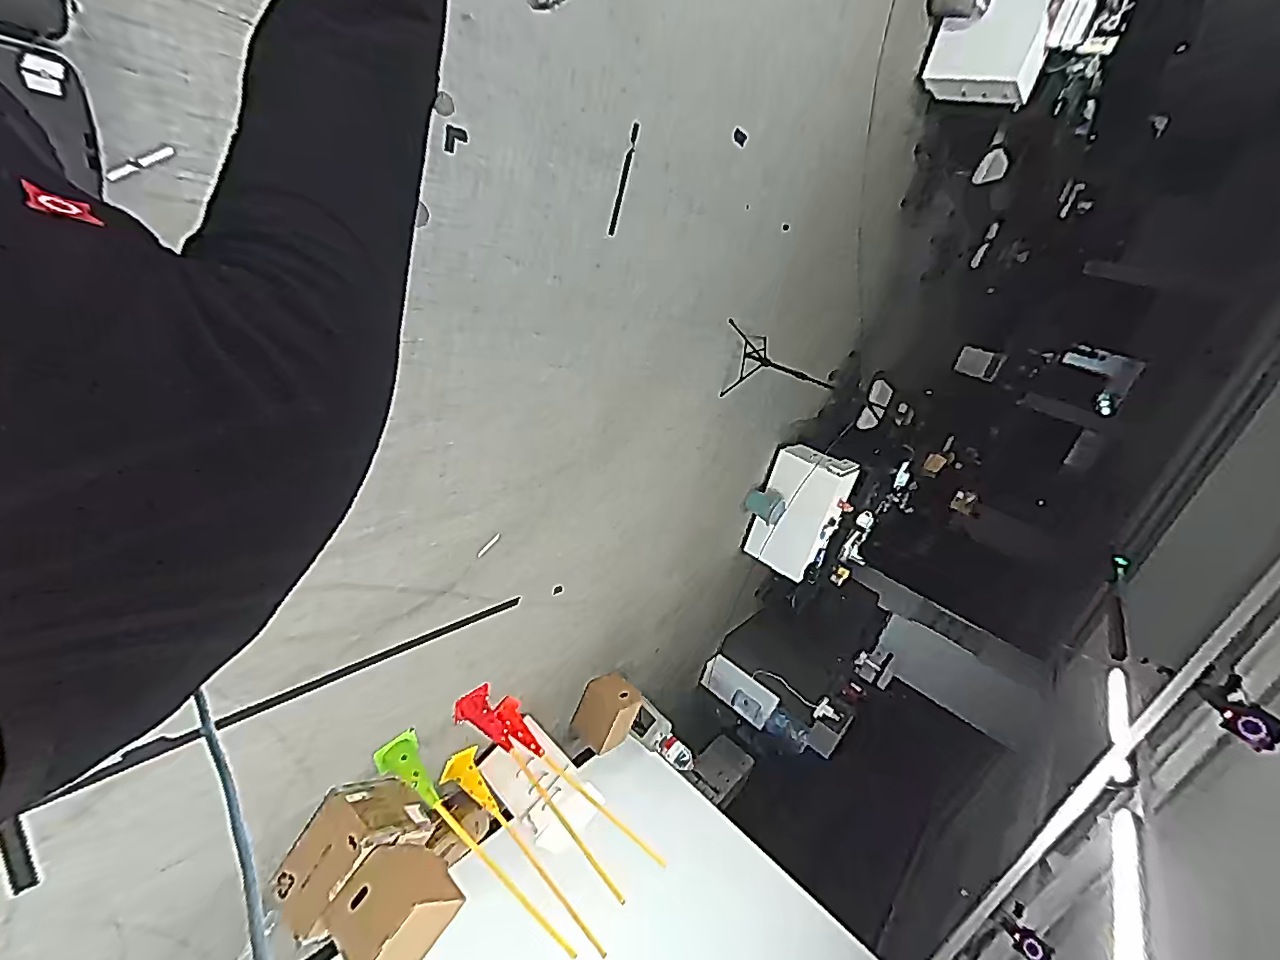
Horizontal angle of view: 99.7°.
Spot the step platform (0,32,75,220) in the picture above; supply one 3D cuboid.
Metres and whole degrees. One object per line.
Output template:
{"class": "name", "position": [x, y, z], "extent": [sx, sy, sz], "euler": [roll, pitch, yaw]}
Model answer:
{"class": "step platform", "position": [-1.282, -0.574, 0.753], "extent": [0.684, 0.204, 0.286], "euler": [-14, 127, -47]}
